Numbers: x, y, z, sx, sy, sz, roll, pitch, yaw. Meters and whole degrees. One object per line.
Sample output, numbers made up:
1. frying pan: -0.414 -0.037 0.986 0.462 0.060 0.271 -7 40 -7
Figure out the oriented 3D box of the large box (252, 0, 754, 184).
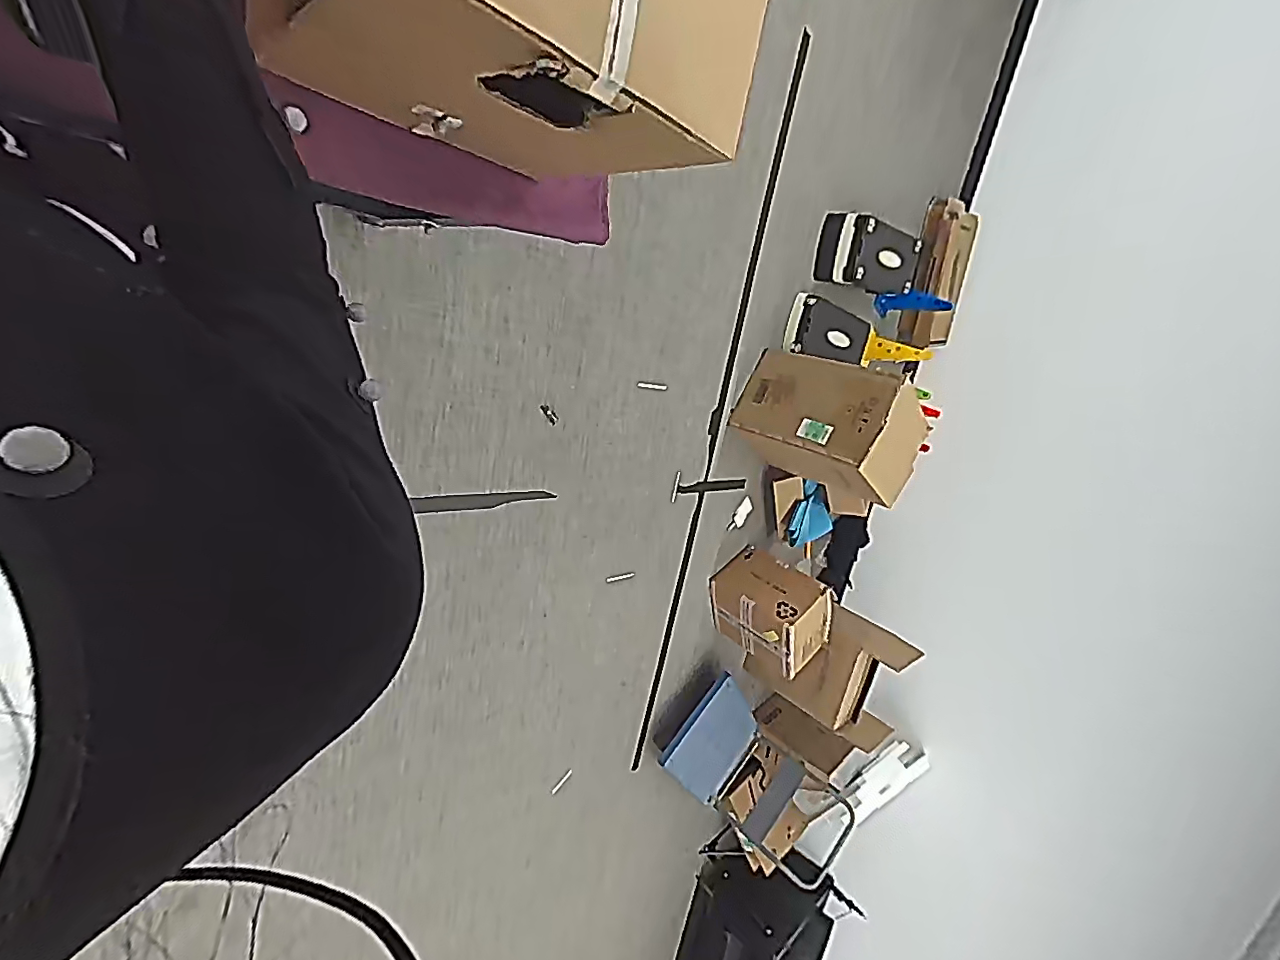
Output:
1. large box: -0.102 -0.508 0.433 0.320 0.320 0.408 -5 110 -46
